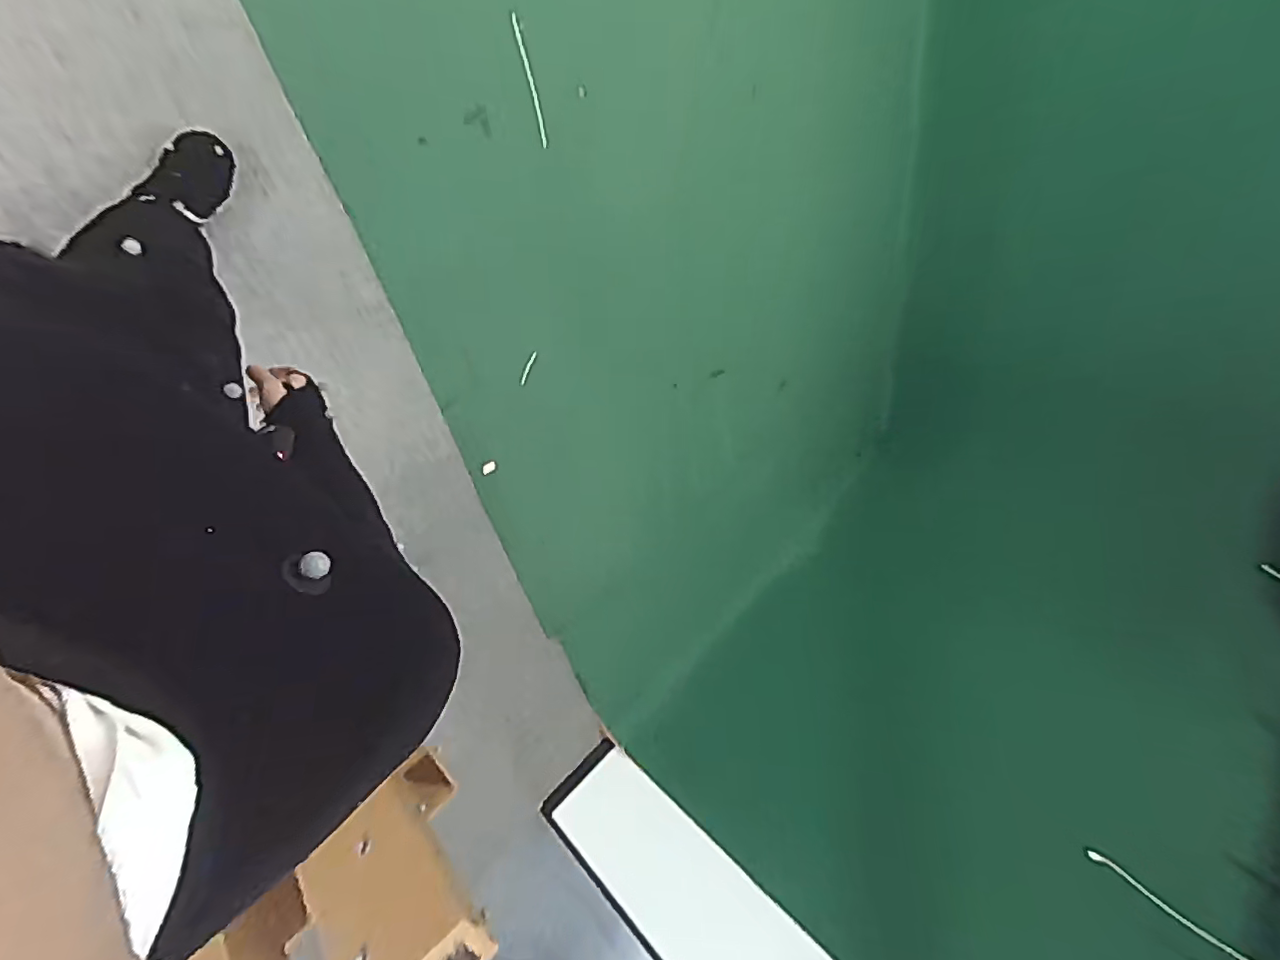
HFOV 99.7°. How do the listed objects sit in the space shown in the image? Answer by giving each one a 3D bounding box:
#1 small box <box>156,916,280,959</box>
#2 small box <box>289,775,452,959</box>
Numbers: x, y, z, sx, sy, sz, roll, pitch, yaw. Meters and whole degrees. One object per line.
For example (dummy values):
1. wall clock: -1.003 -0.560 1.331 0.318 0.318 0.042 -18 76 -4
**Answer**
1. small box: -0.662 0.819 0.821 0.168 0.176 0.179 -38 134 -29
2. small box: -0.469 0.666 0.946 0.179 0.176 0.168 -37 132 -27
